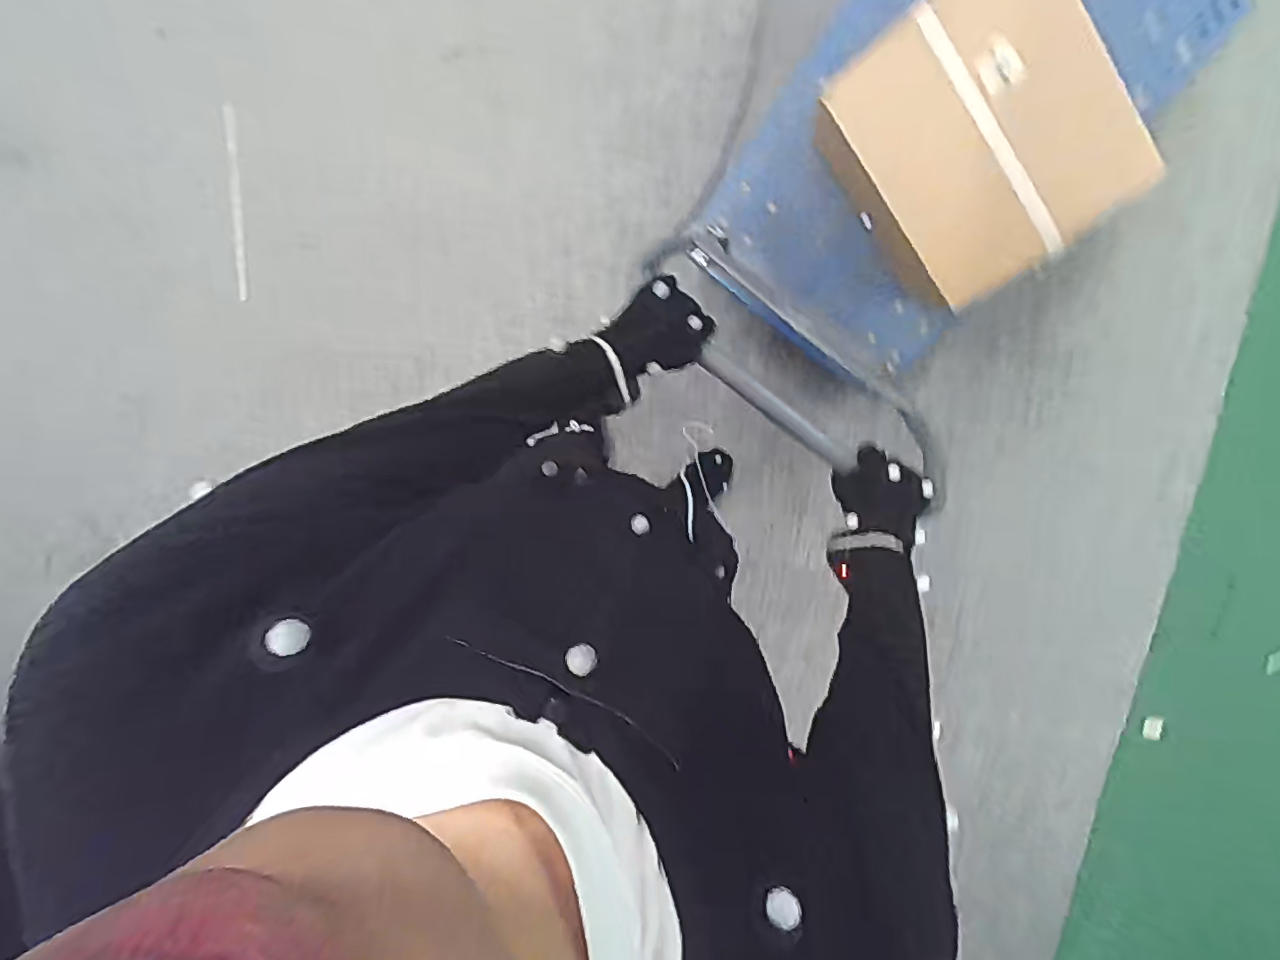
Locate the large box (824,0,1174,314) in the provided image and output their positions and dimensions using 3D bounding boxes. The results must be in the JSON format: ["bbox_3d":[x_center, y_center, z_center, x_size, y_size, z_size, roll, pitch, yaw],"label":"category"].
[{"bbox_3d":[0.563,-0.553,0.930,0.320,0.320,0.408,-33,99,24],"label":"large box"}]
